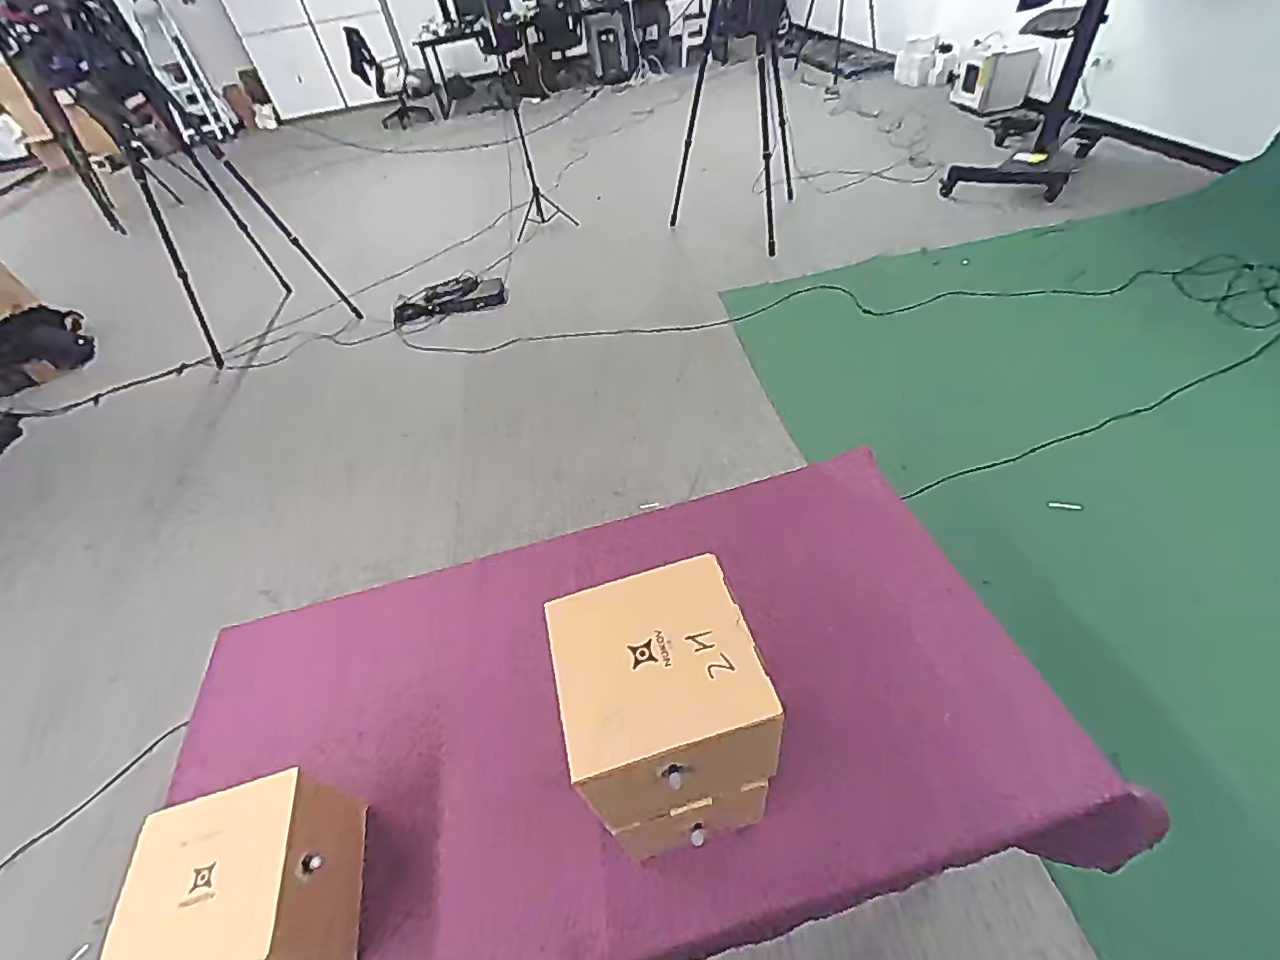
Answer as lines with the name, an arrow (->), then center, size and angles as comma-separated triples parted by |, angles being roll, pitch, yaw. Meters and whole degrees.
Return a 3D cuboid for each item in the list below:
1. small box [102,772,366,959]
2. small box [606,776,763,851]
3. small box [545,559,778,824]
small box -> -0.428, 0.462, 0.600 | 0.168, 0.176, 0.179 | -15, 46, -6
small box -> 0.038, 0.322, 0.651 | 0.168, 0.176, 0.179 | -15, 47, -5
small box -> 0.020, 0.210, 0.531 | 0.179, 0.176, 0.168 | -15, 47, -5
